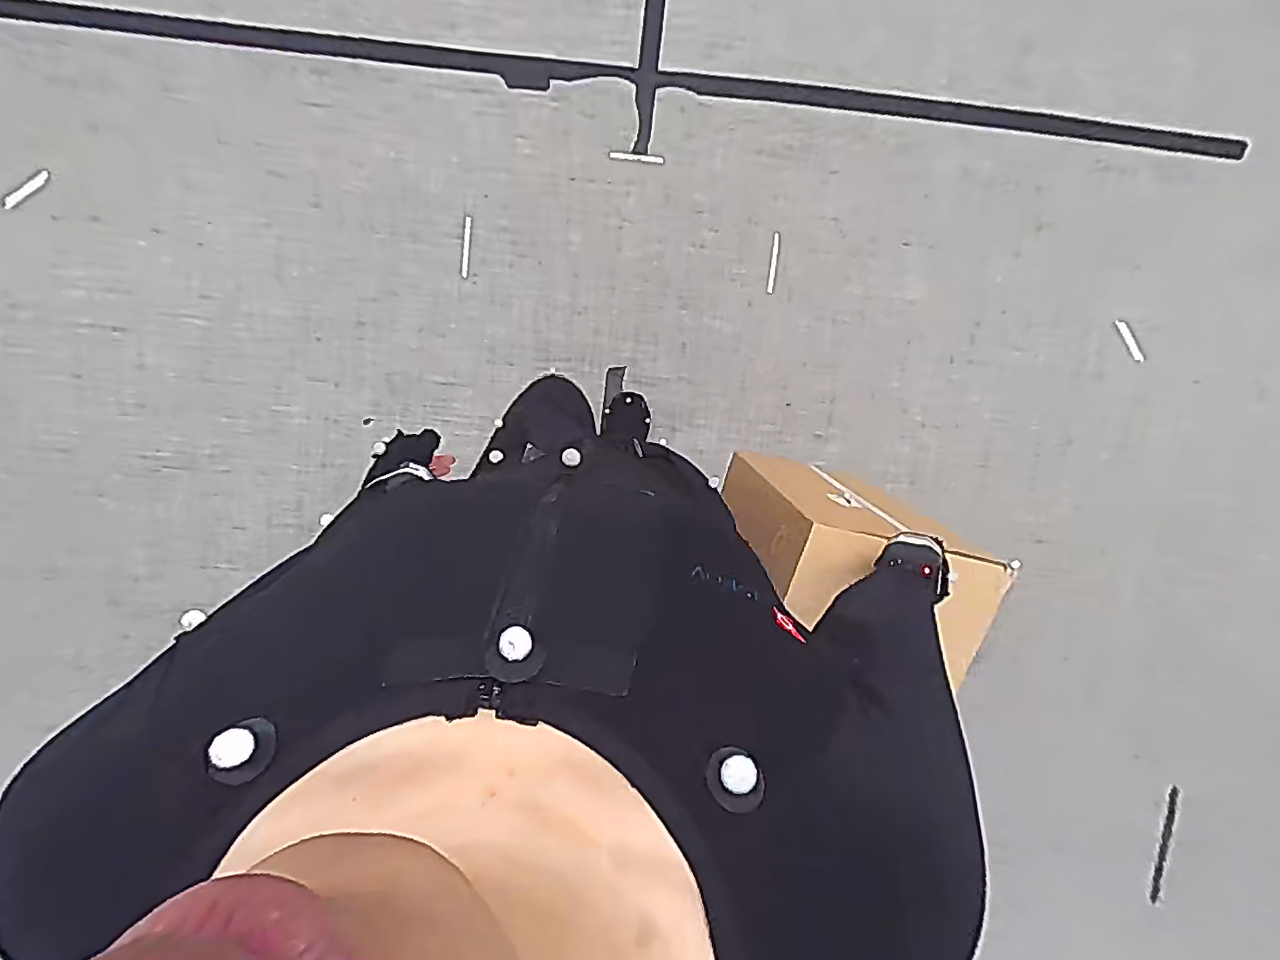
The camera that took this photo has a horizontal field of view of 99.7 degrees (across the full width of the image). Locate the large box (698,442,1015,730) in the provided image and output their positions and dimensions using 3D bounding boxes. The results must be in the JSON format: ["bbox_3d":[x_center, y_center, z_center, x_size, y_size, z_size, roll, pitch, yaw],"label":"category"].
[{"bbox_3d":[0.326,0.160,0.965,0.320,0.408,0.320,13,107,-9],"label":"large box"}]
